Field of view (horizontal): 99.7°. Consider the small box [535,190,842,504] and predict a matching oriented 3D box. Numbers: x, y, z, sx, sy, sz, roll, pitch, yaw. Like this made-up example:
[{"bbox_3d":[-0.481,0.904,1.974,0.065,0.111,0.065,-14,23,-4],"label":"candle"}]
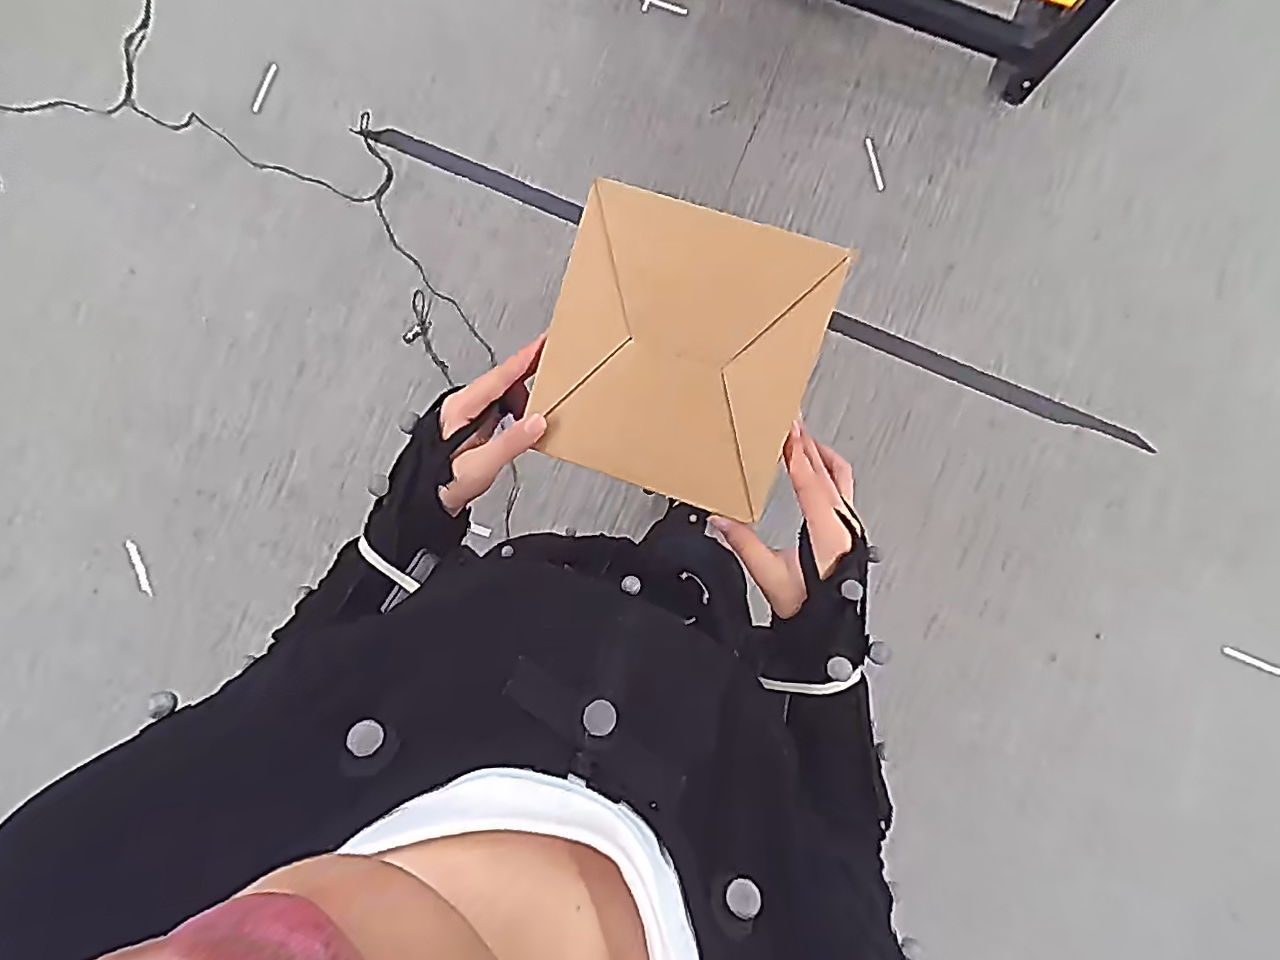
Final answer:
[{"bbox_3d":[0.035,-0.088,0.423,0.168,0.176,0.179,19,98,5],"label":"small box"}]
